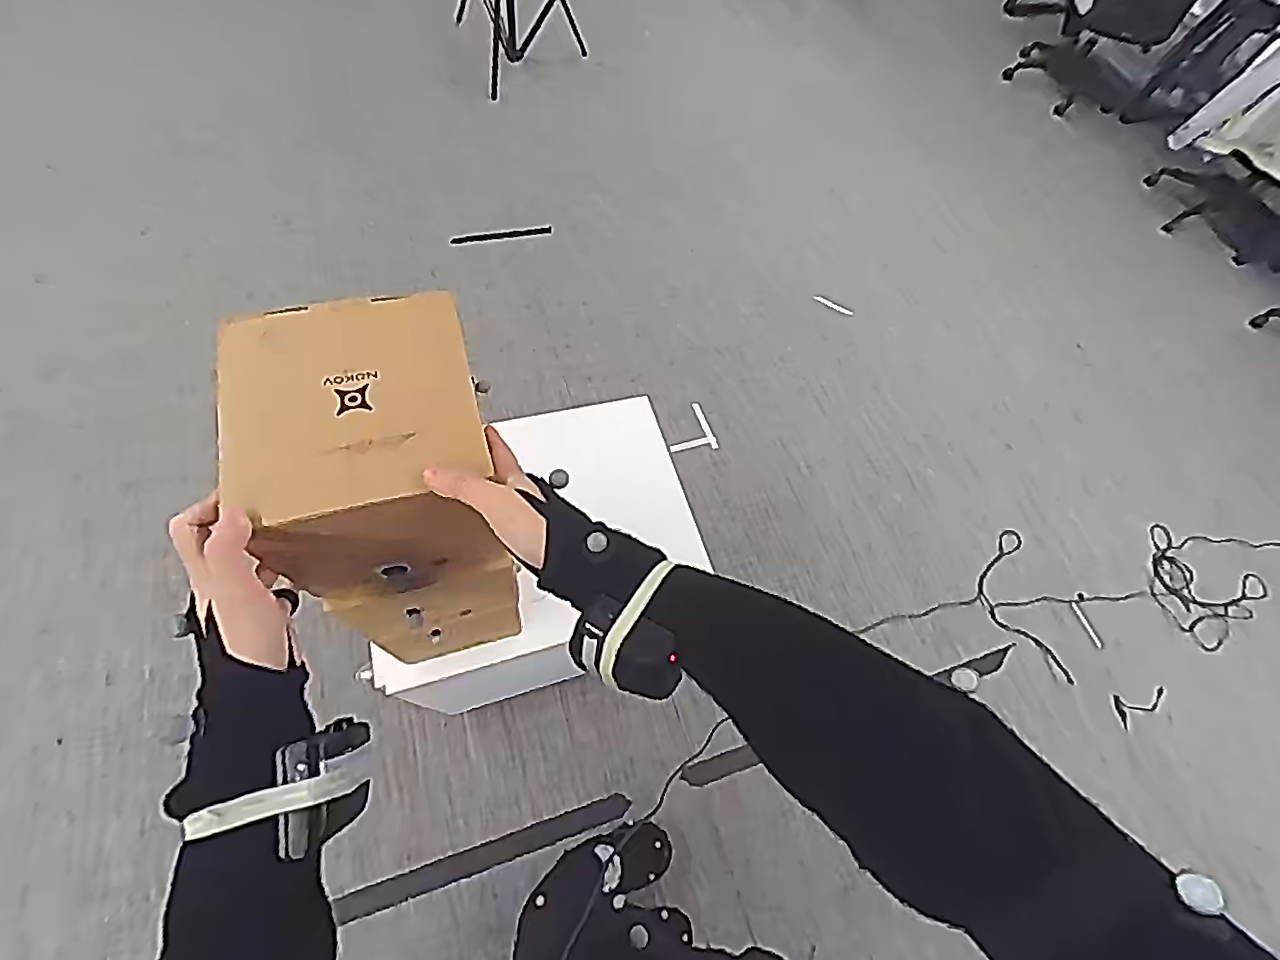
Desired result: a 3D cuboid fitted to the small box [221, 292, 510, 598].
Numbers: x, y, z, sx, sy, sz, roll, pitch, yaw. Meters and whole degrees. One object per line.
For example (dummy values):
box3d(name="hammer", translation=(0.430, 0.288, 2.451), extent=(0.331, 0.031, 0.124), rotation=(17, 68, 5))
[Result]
box3d(name="small box", translation=(-0.210, -0.023, 0.447), extent=(0.168, 0.176, 0.179), rotation=(-14, 68, -15))

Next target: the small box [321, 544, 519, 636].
box3d(name="small box", translation=(-0.232, 0.059, 0.586), extent=(0.168, 0.176, 0.179), rotation=(-14, 66, -16))

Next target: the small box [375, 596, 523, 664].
box3d(name="small box", translation=(-0.258, 0.129, 0.731), extent=(0.168, 0.176, 0.179), rotation=(-12, 65, -16))
